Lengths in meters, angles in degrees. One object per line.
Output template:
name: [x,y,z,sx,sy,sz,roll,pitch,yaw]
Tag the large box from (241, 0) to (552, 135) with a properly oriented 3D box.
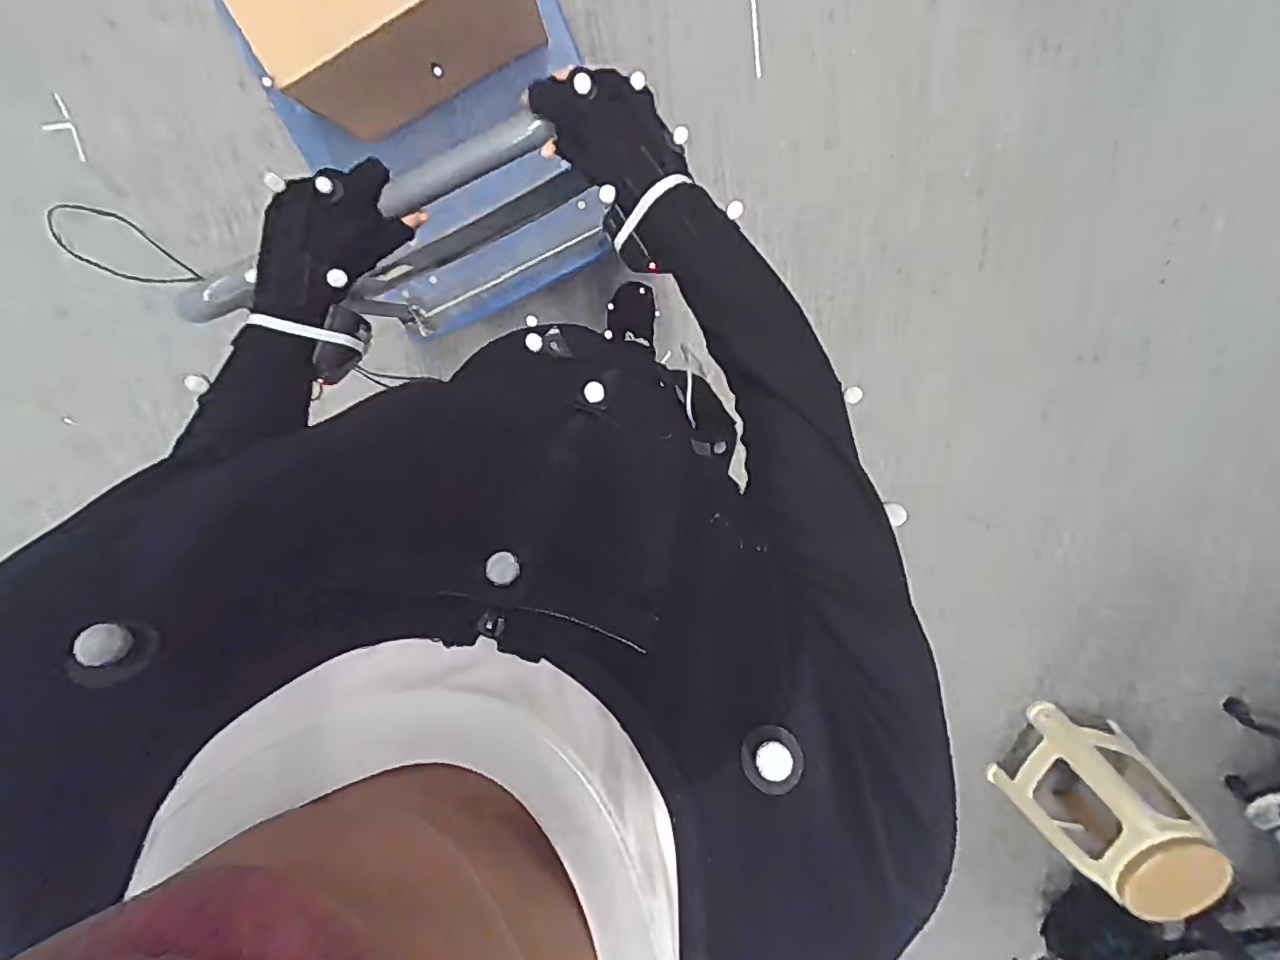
large box: [-0.401,-0.839,0.857,0.408,0.320,0.320,-26,107,7]
